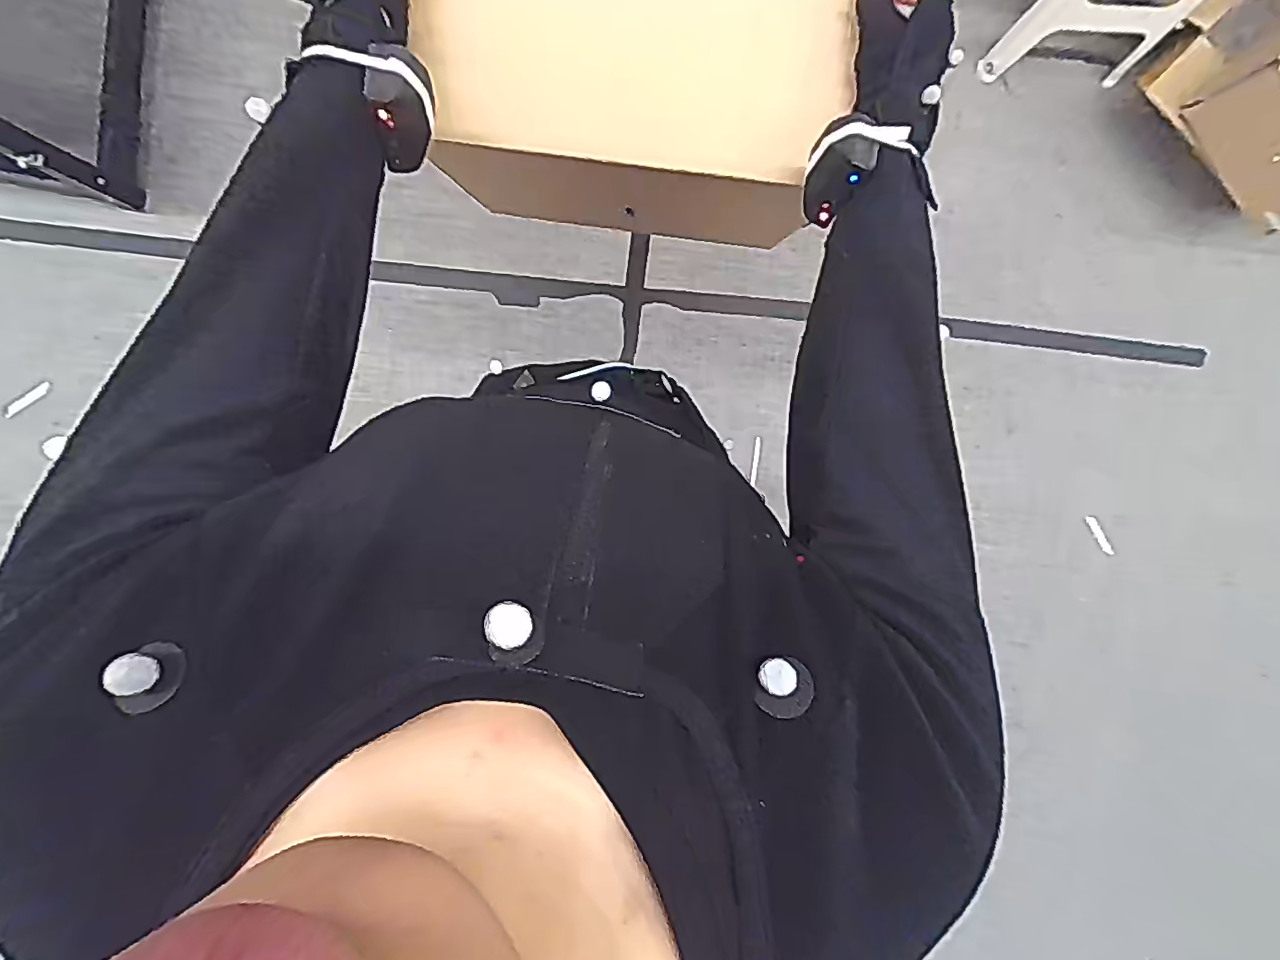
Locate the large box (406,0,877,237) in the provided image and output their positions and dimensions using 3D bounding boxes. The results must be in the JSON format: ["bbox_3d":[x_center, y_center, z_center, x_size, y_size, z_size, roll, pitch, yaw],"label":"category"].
[{"bbox_3d":[0.008,-0.472,0.592,0.408,0.320,0.320,6,104,-1],"label":"large box"}]
